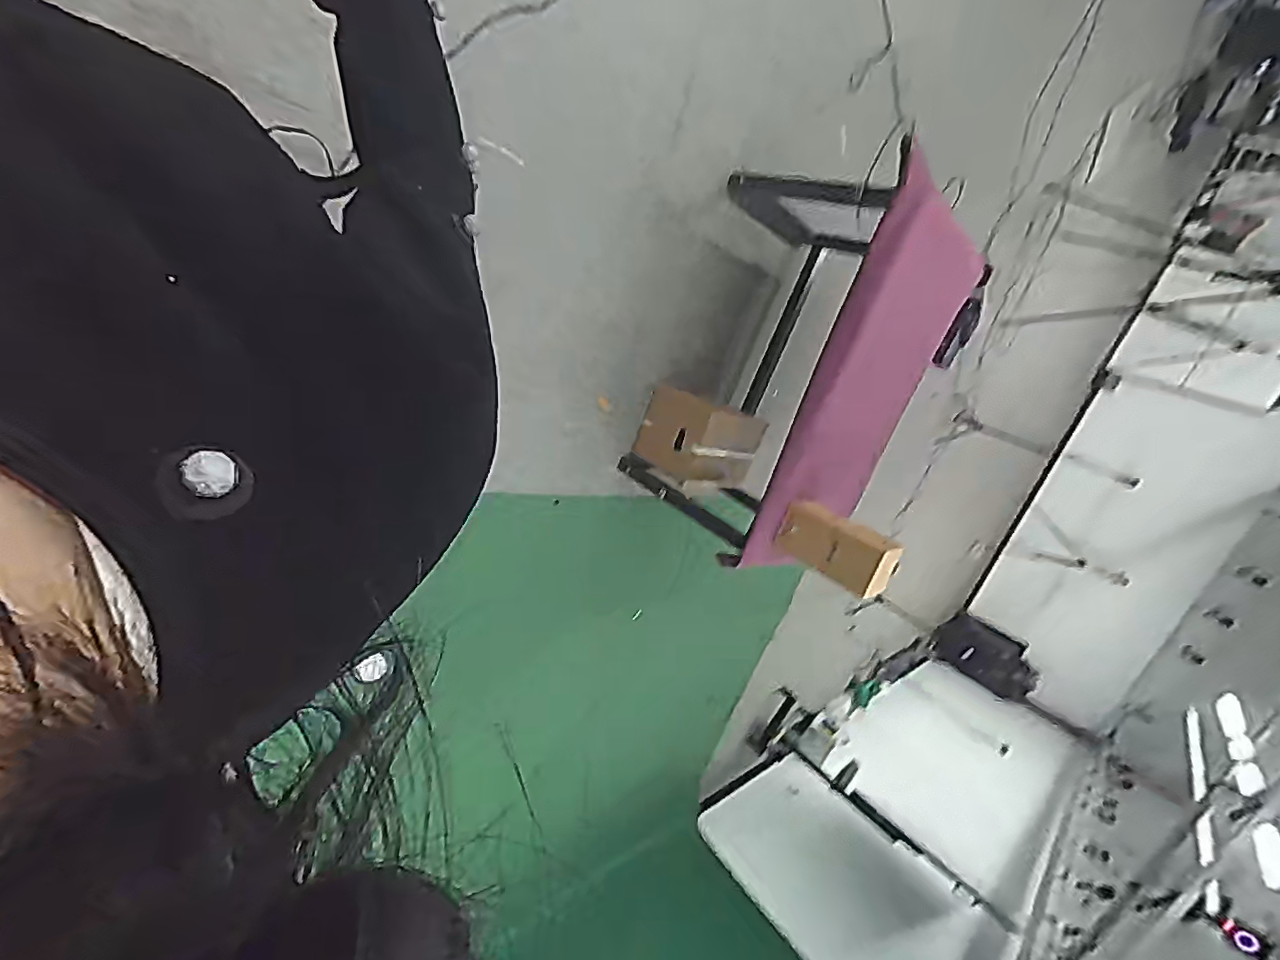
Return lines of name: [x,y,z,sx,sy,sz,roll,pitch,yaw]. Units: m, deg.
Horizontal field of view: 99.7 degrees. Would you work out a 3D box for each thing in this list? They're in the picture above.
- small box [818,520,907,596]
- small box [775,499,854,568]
small box: [0.685,0.234,1.672,0.179,0.176,0.168,0,114,-46]
small box: [0.576,0.170,1.774,0.179,0.176,0.168,4,112,-47]
